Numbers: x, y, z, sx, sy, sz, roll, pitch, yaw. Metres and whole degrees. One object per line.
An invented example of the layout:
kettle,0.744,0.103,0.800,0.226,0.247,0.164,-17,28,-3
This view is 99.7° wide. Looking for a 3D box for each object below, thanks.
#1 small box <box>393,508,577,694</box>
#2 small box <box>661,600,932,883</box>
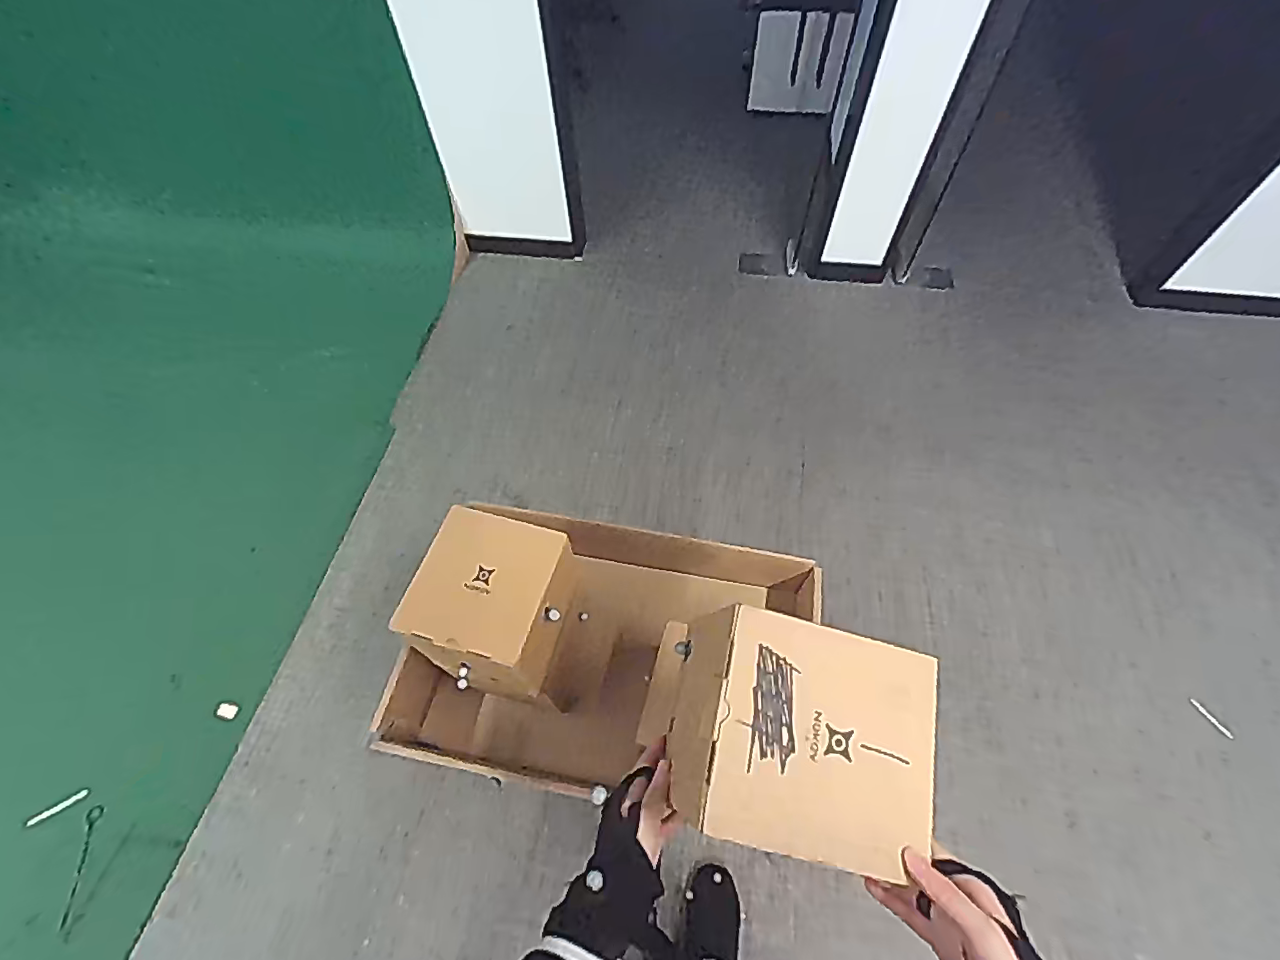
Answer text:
small box,-0.191,0.168,0.735,0.168,0.176,0.179,13,60,10
small box,0.128,0.222,0.487,0.179,0.176,0.168,17,68,-4
